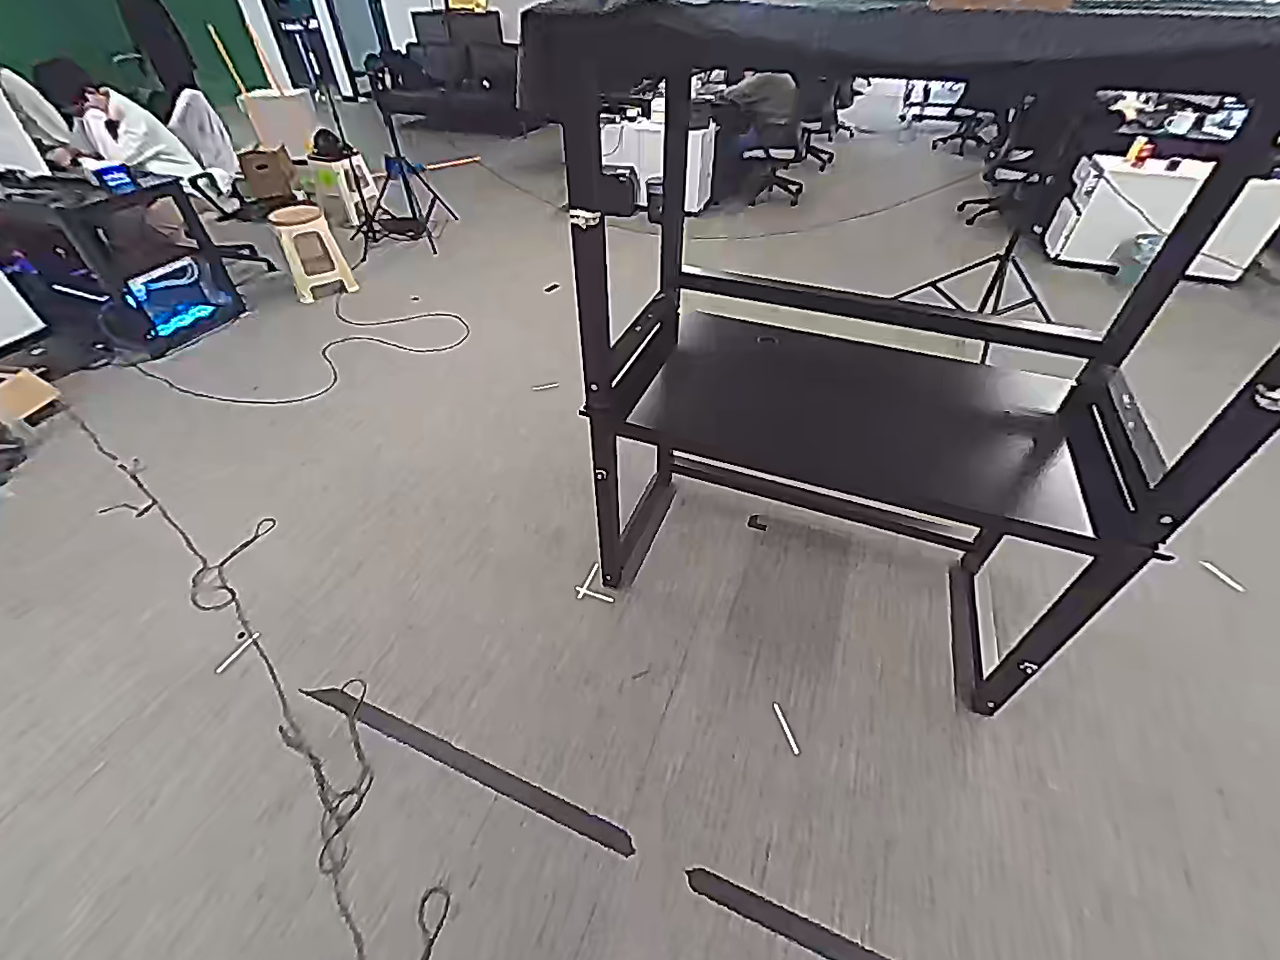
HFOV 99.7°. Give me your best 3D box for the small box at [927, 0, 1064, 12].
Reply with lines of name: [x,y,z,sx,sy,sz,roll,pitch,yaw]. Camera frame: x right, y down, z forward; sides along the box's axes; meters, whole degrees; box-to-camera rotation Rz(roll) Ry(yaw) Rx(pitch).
small box: [0.492,-0.727,0.707,0.168,0.176,0.179,15,43,15]
